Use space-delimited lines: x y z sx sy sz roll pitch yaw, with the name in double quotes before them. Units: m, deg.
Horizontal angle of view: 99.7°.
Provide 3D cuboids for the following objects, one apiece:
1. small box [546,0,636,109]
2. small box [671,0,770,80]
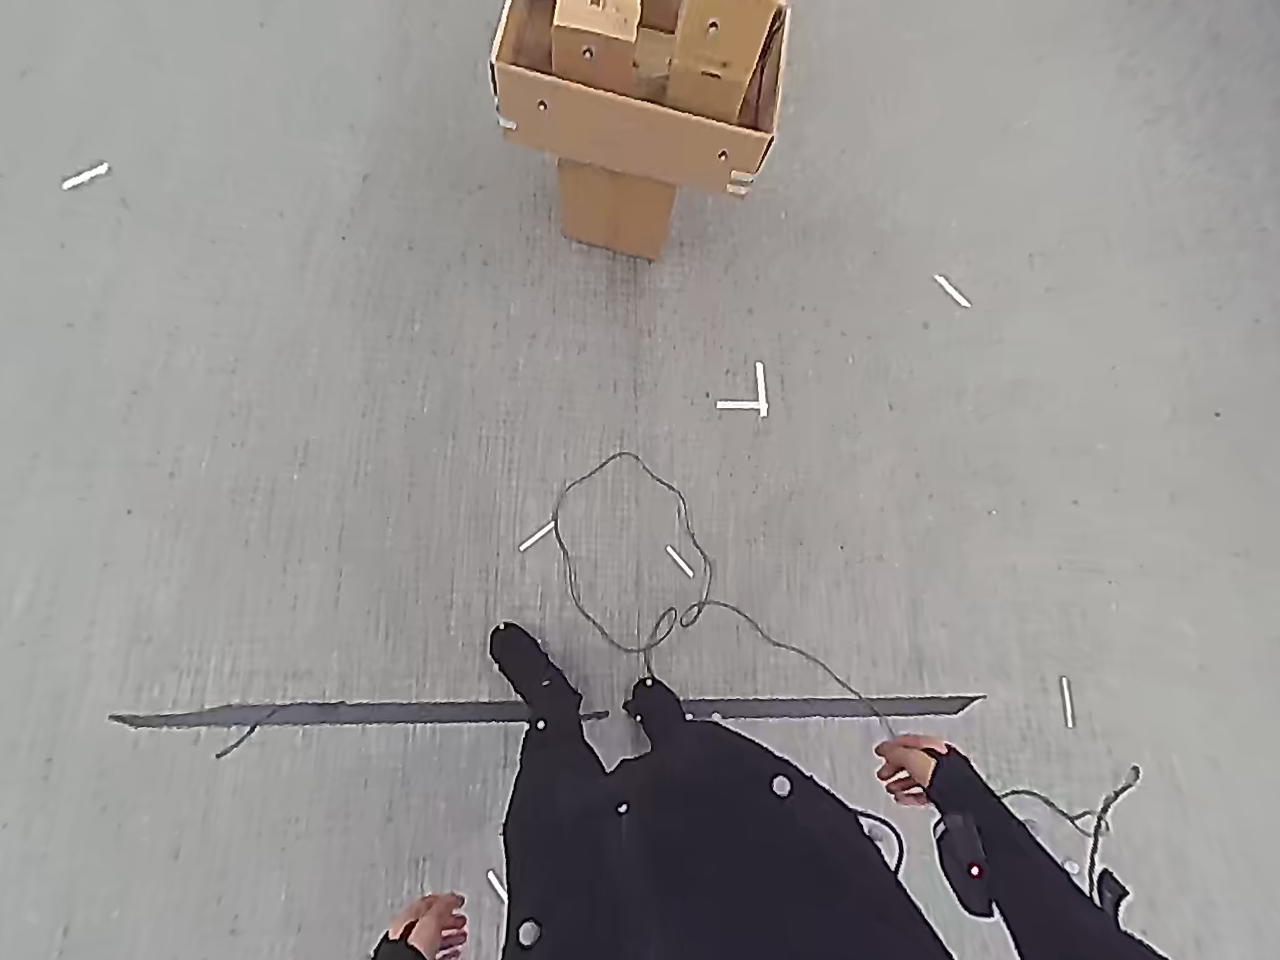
"small box" -0.111 -0.976 1.210 0.179 0.176 0.168 8 77 -7
"small box" 0.160 -0.949 1.076 0.168 0.176 0.179 8 76 -6
